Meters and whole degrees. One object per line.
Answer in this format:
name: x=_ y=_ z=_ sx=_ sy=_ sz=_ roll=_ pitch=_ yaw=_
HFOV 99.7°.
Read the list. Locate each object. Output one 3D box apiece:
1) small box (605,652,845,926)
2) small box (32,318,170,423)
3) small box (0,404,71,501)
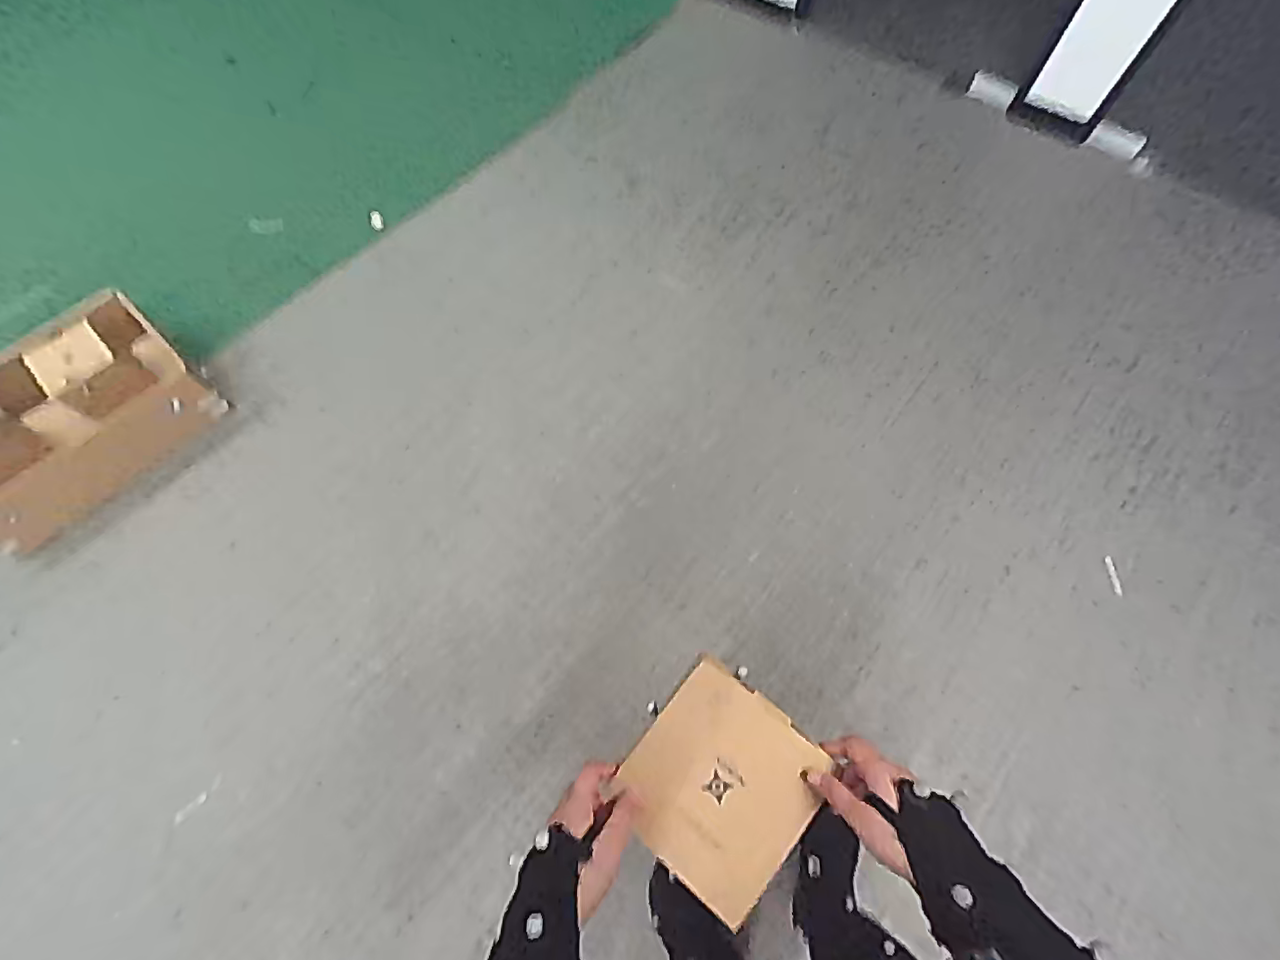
small box: x=0.085 y=0.307 z=0.589 sx=0.168 sy=0.176 sz=0.179 roll=37 pitch=80 yaw=15
small box: x=-1.423 y=-0.286 z=1.437 sx=0.168 sy=0.176 sz=0.179 roll=-42 pitch=73 yaw=-16
small box: x=-1.601 y=-0.075 z=1.339 sx=0.179 sy=0.176 sz=0.168 roll=37 pitch=71 yaw=15
